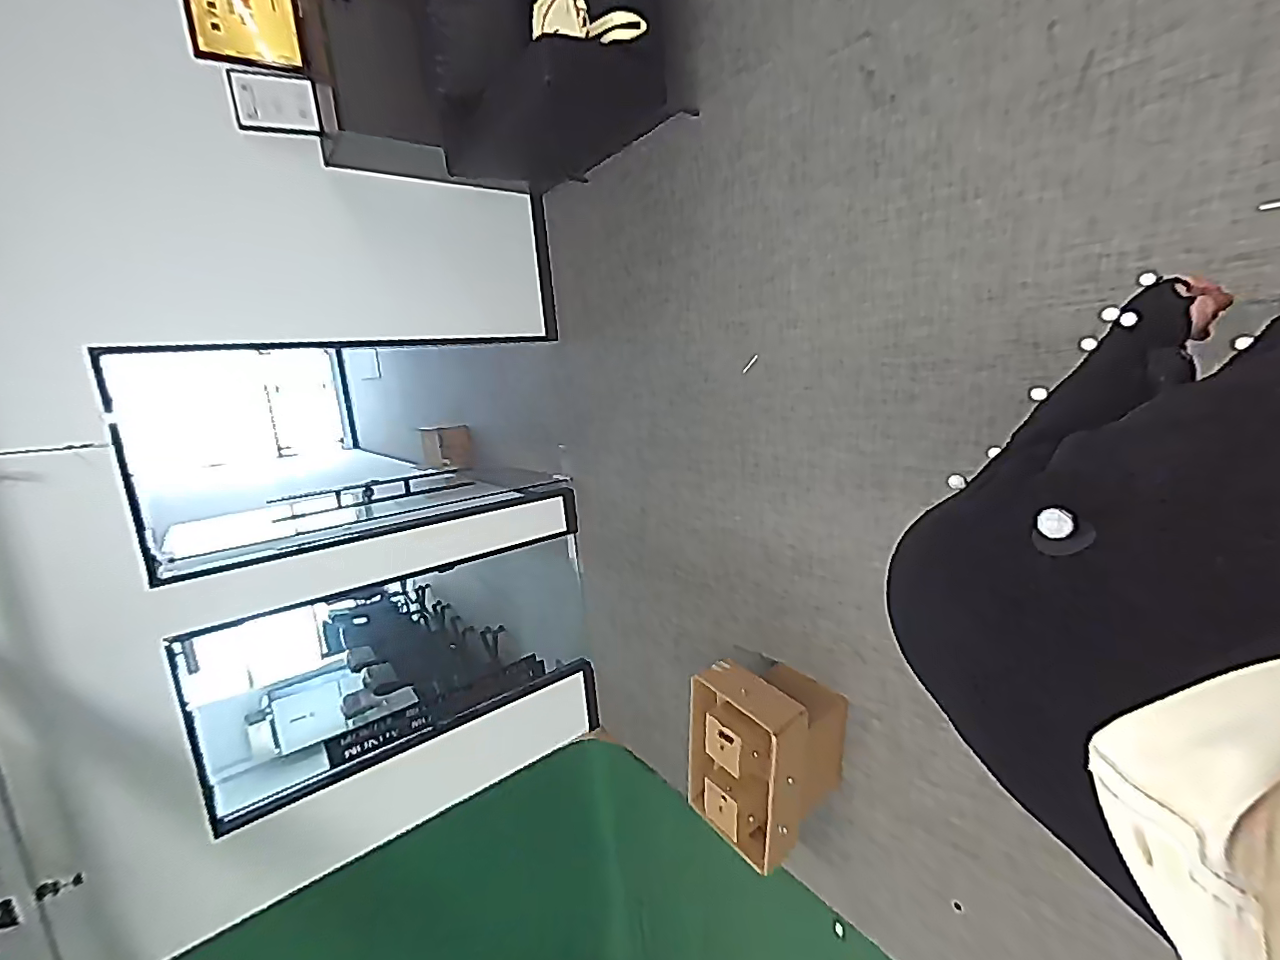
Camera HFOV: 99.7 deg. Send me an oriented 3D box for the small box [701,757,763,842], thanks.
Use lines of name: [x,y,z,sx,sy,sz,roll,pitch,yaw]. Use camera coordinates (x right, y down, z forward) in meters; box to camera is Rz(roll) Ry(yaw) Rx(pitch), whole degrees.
small box: [0.344,1.182,2.012,0.168,0.176,0.179,16,114,50]
